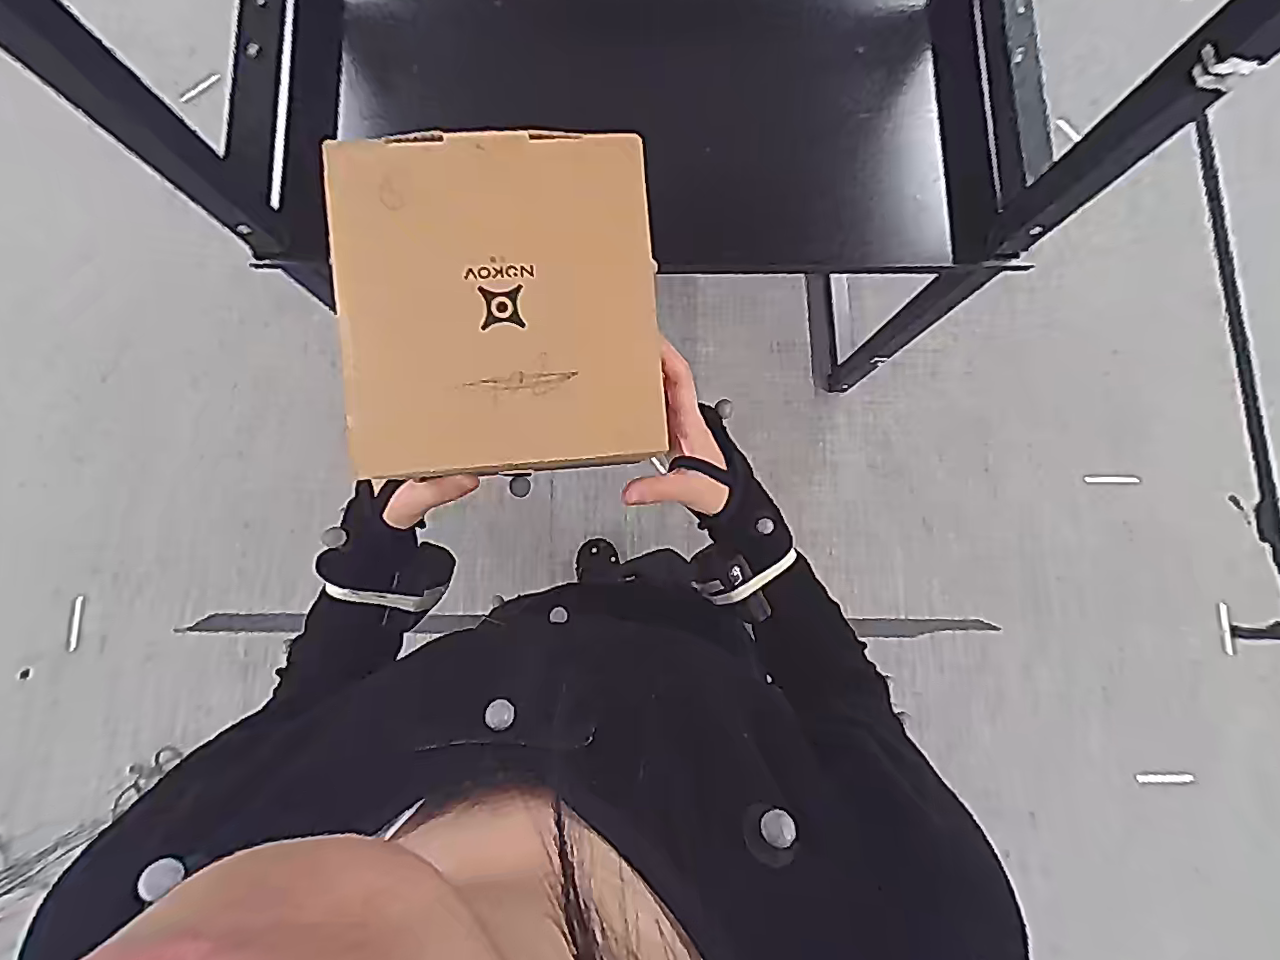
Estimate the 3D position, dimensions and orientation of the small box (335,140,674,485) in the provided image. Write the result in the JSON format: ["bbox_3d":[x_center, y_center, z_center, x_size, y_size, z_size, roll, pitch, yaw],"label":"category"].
[{"bbox_3d":[-0.077,-0.090,0.363,0.168,0.176,0.179,-5,90,-5],"label":"small box"}]
